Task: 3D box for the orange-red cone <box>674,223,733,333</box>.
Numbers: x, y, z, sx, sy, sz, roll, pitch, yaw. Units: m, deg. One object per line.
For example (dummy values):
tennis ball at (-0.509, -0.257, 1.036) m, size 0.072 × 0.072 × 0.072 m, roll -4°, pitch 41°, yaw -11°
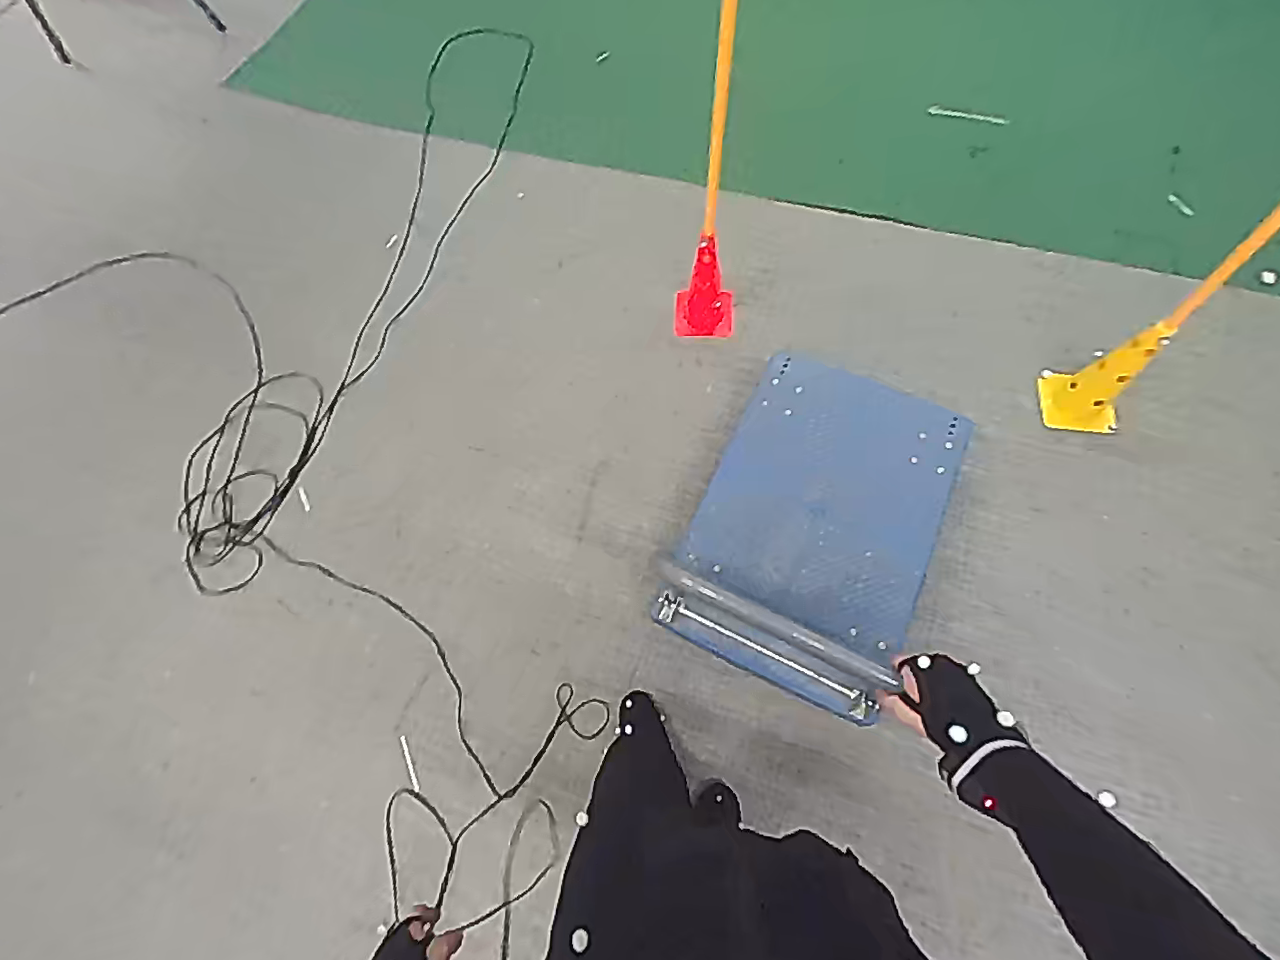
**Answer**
orange-red cone at (0.208, -0.659, 1.724) m, size 0.199 × 0.360 × 0.198 m, roll 3°, pitch 67°, yaw 7°
